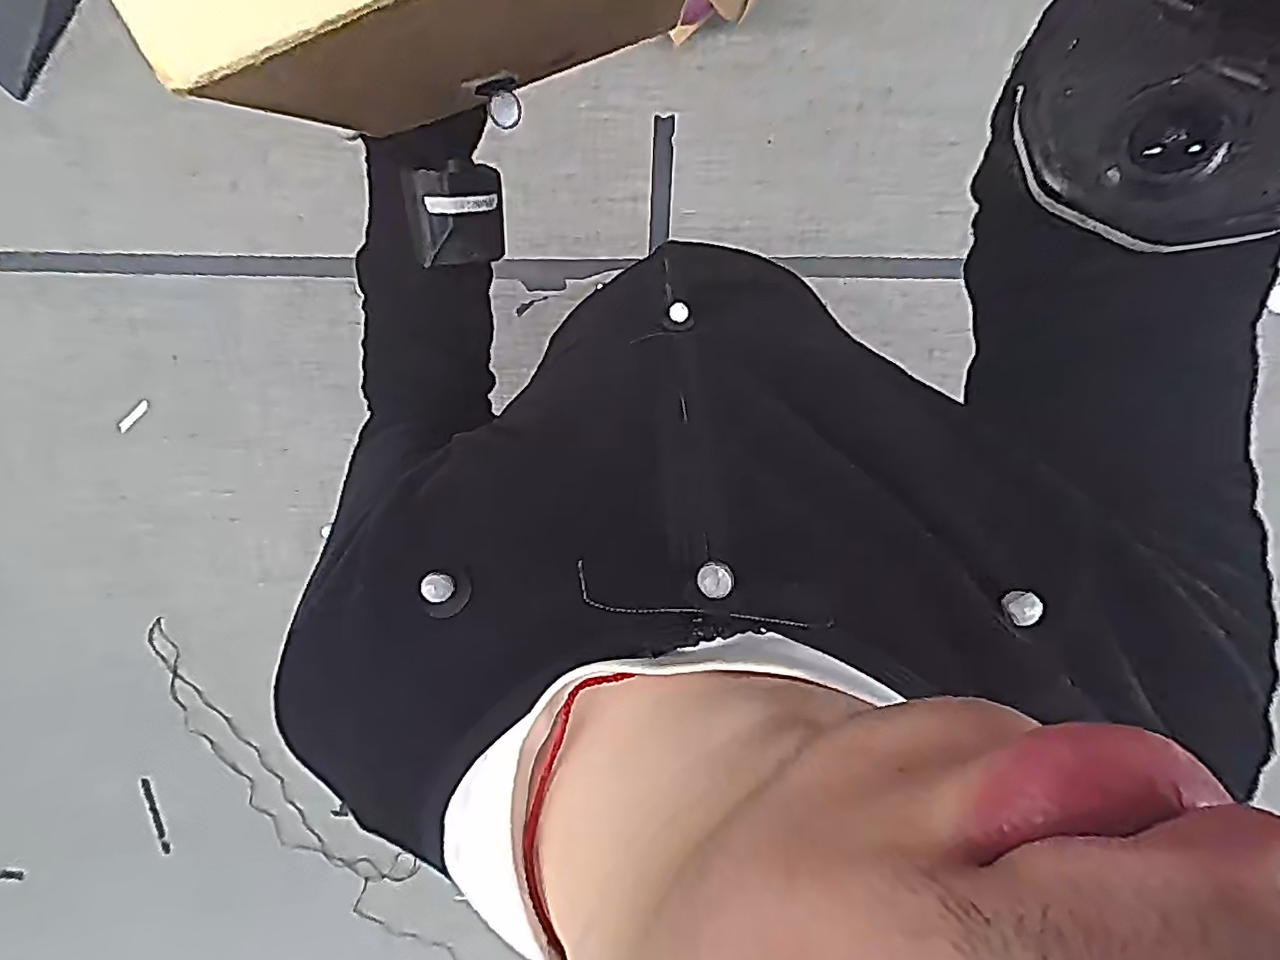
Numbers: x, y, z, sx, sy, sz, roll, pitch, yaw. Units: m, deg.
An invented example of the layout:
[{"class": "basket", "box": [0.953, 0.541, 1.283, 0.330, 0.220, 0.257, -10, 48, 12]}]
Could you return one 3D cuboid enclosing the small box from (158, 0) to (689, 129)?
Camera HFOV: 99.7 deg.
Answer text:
[{"class": "small box", "box": [-0.077, -0.248, 0.182, 0.168, 0.176, 0.179, -16, 118, 7]}]
